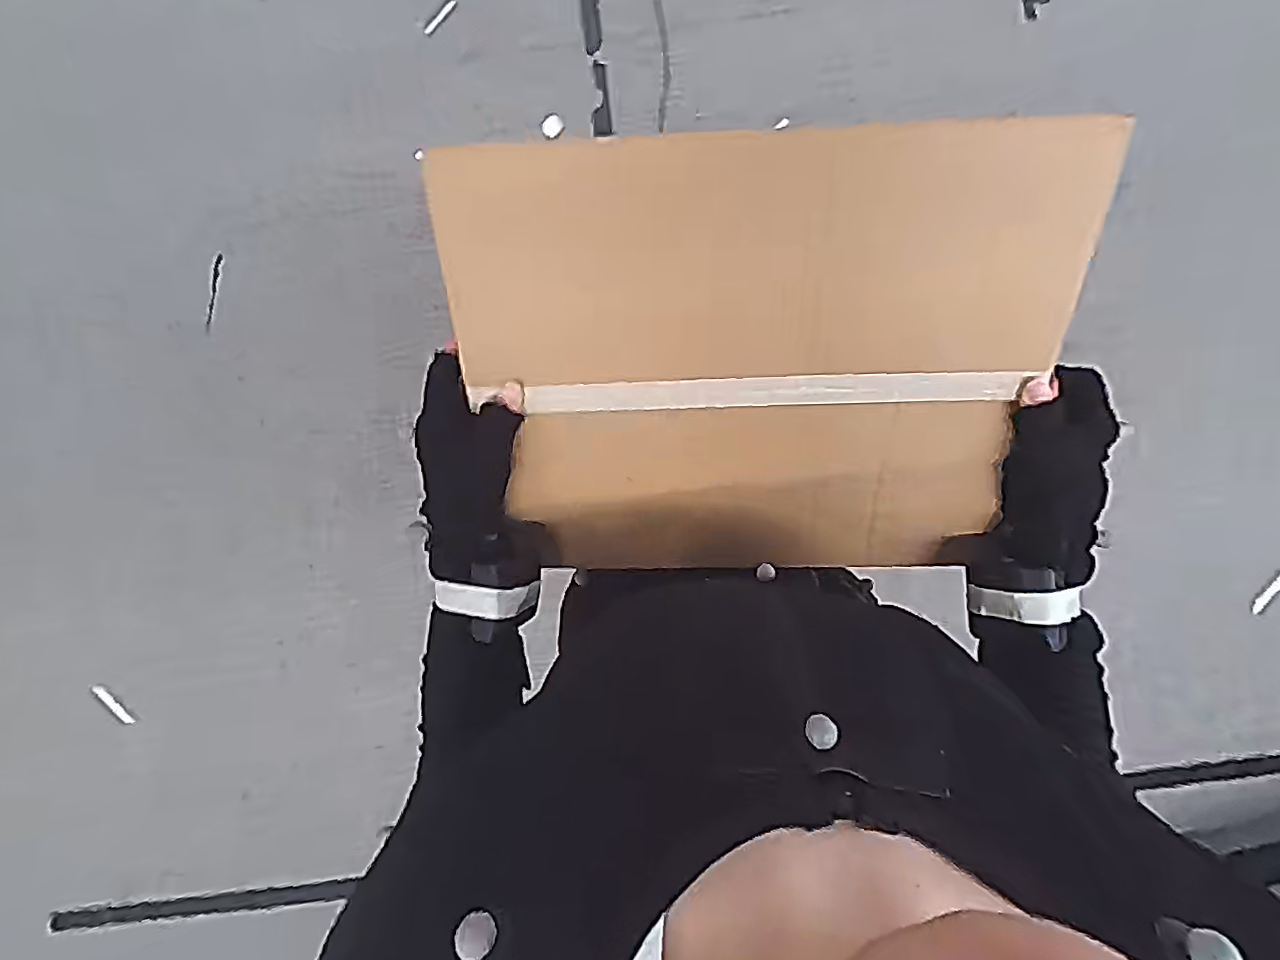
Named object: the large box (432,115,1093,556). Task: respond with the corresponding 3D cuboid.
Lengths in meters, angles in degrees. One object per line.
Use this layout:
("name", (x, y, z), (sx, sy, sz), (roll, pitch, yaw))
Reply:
("large box", (0.078, -0.143, 0.525), (0.408, 0.320, 0.320), (-1, 120, 3))
